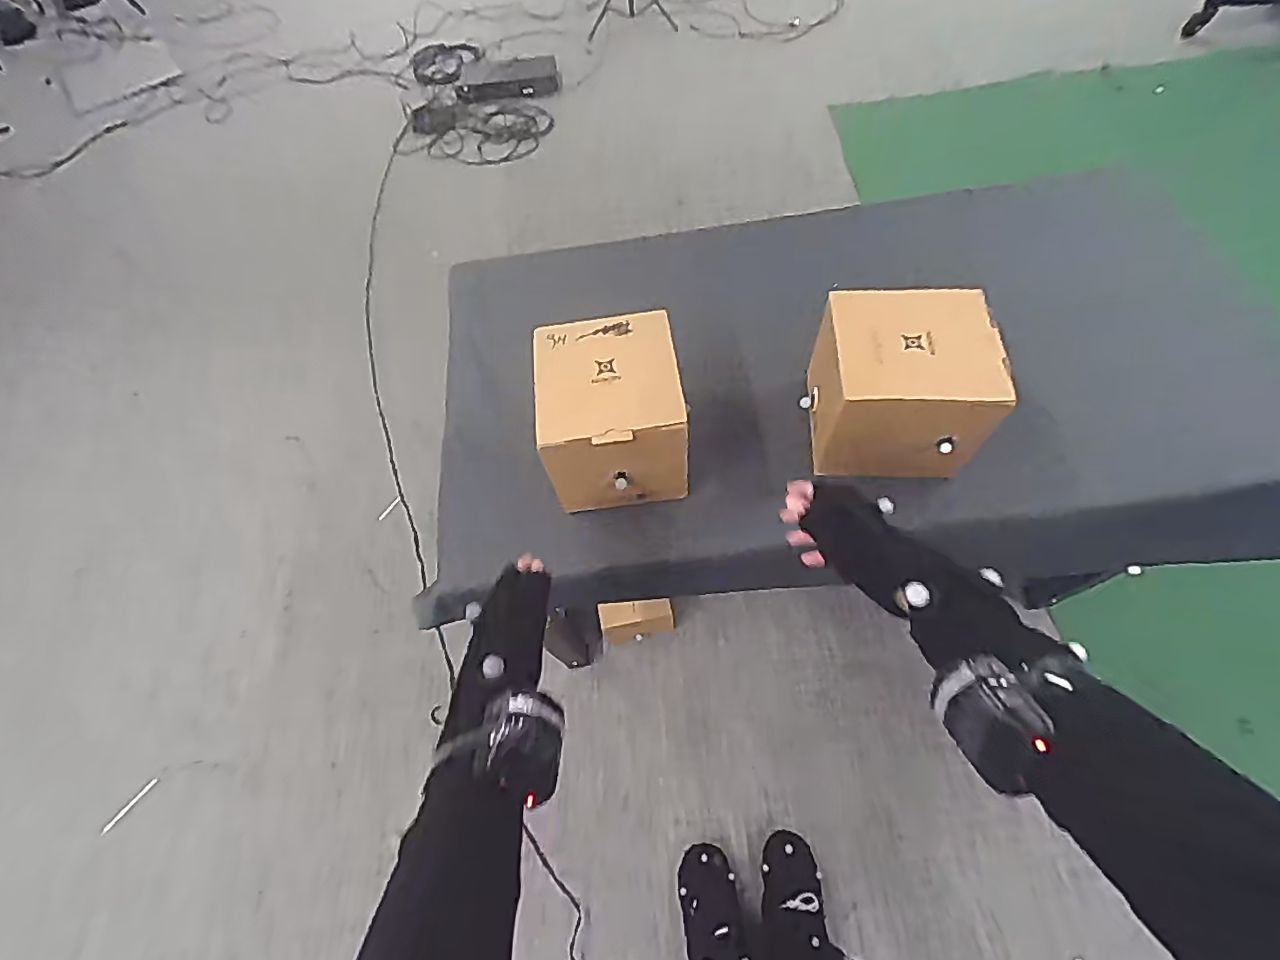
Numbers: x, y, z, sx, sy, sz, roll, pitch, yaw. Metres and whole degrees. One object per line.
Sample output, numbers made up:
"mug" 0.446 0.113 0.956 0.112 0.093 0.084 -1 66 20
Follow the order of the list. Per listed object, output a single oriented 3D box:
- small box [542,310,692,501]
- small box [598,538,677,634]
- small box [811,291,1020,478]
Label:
"small box" -0.025 -0.084 0.690 0.168 0.176 0.179 -7 62 1
"small box" -0.004 0.264 1.333 0.168 0.176 0.179 -11 63 0
"small box" 0.322 -0.112 0.674 0.179 0.176 0.168 1 62 7
